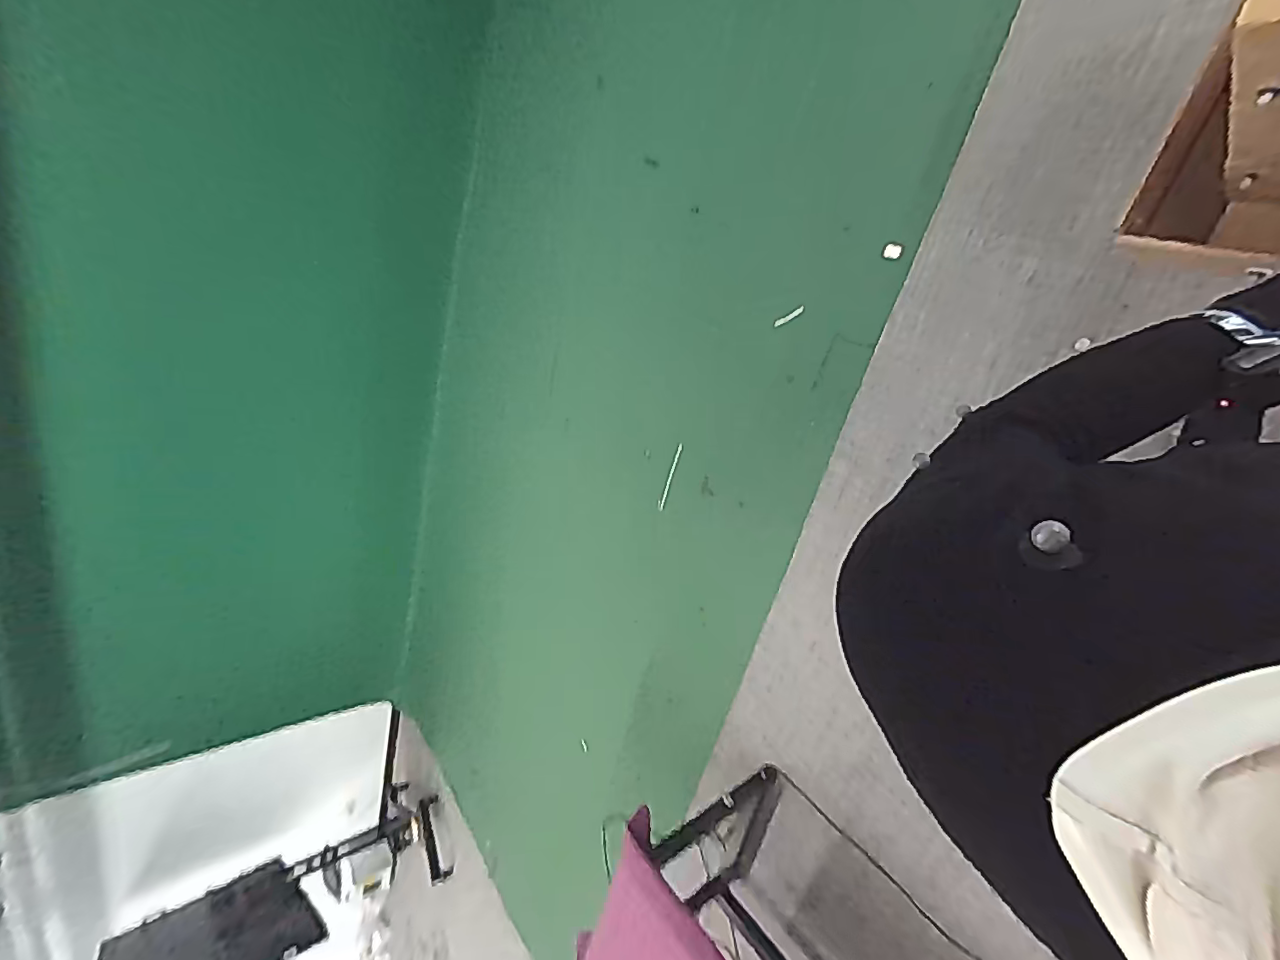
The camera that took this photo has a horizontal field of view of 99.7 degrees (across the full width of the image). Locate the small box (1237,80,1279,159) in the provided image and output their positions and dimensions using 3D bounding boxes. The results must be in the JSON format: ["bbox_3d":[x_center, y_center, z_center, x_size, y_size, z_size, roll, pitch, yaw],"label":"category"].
[{"bbox_3d":[0.806,-0.472,0.587,0.168,0.176,0.179,35,117,40],"label":"small box"}]

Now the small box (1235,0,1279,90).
[{"bbox_3d":[0.686,-0.472,0.475,0.168,0.176,0.179,33,115,40],"label":"small box"}]
